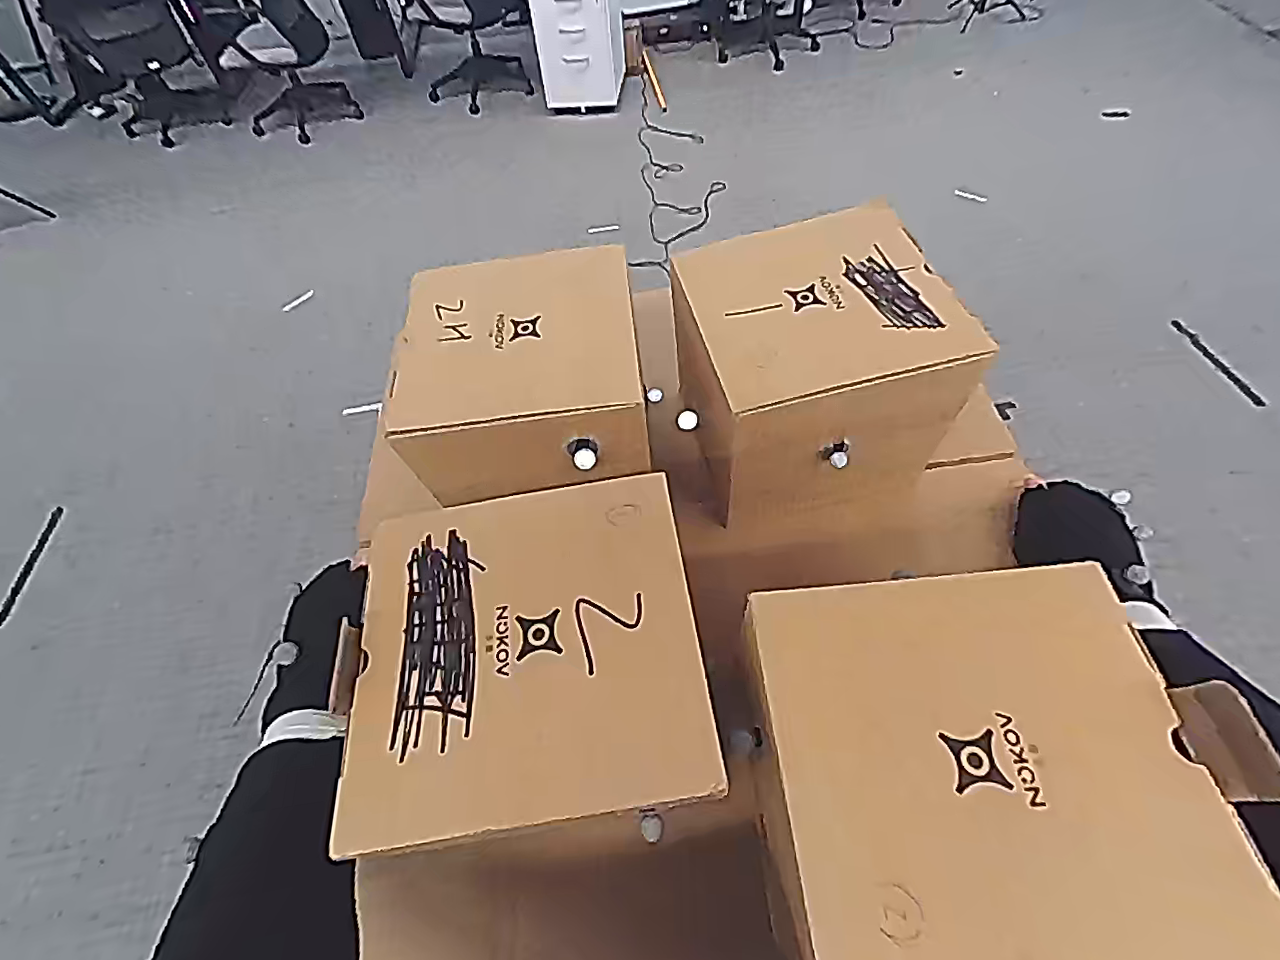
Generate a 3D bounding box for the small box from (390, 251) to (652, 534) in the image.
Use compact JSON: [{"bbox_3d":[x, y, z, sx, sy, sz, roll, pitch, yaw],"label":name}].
[{"bbox_3d":[-0.084,-0.067,0.475,0.179,0.176,0.168,-8,58,3],"label":"small box"}]
